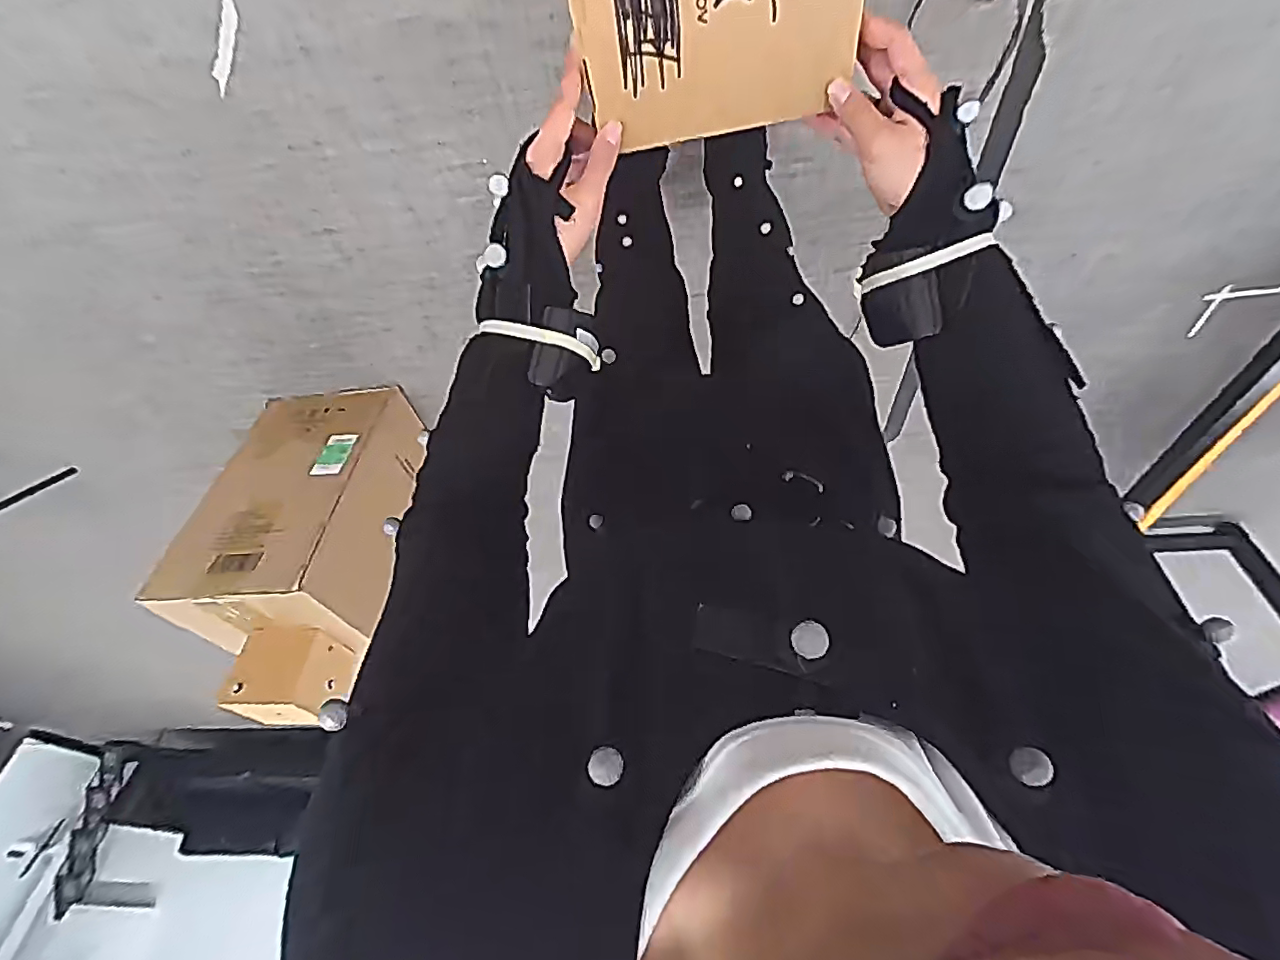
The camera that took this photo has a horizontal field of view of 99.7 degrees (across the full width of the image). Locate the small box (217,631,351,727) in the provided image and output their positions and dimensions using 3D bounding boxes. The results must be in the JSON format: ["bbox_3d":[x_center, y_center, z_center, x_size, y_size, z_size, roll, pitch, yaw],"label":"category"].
[{"bbox_3d":[-0.790,0.452,1.229,0.179,0.176,0.168,-3,142,6],"label":"small box"}]
